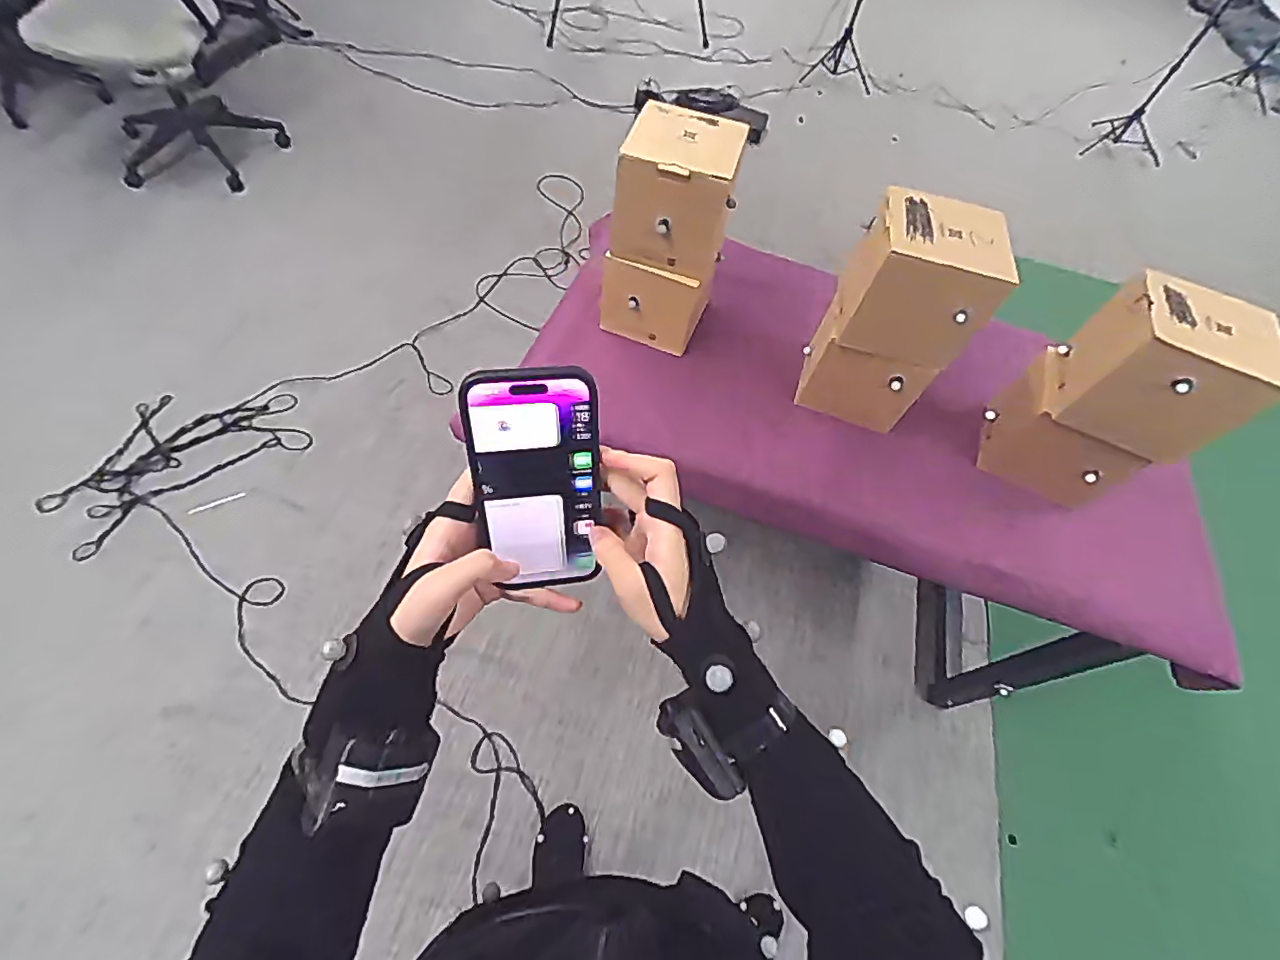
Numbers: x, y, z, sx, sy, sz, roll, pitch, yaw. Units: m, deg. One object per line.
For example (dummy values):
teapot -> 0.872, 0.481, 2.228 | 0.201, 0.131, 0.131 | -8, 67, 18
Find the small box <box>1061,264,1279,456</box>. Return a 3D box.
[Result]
small box -> 0.733, -0.161, 0.756 | 0.179, 0.176, 0.168 | 25, 58, 8

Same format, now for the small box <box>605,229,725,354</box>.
small box -> 0.042, -0.362, 0.995 | 0.168, 0.176, 0.179 | 20, 58, 6

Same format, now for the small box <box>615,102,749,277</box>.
small box -> 0.061, -0.456, 0.861 | 0.168, 0.176, 0.179 | 16, 58, 3

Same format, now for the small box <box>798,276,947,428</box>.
small box -> 0.400, -0.215, 0.943 | 0.179, 0.176, 0.168 | 20, 58, 6

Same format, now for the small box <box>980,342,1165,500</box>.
small box -> 0.714, -0.090, 0.902 | 0.179, 0.176, 0.168 | 25, 58, 9
